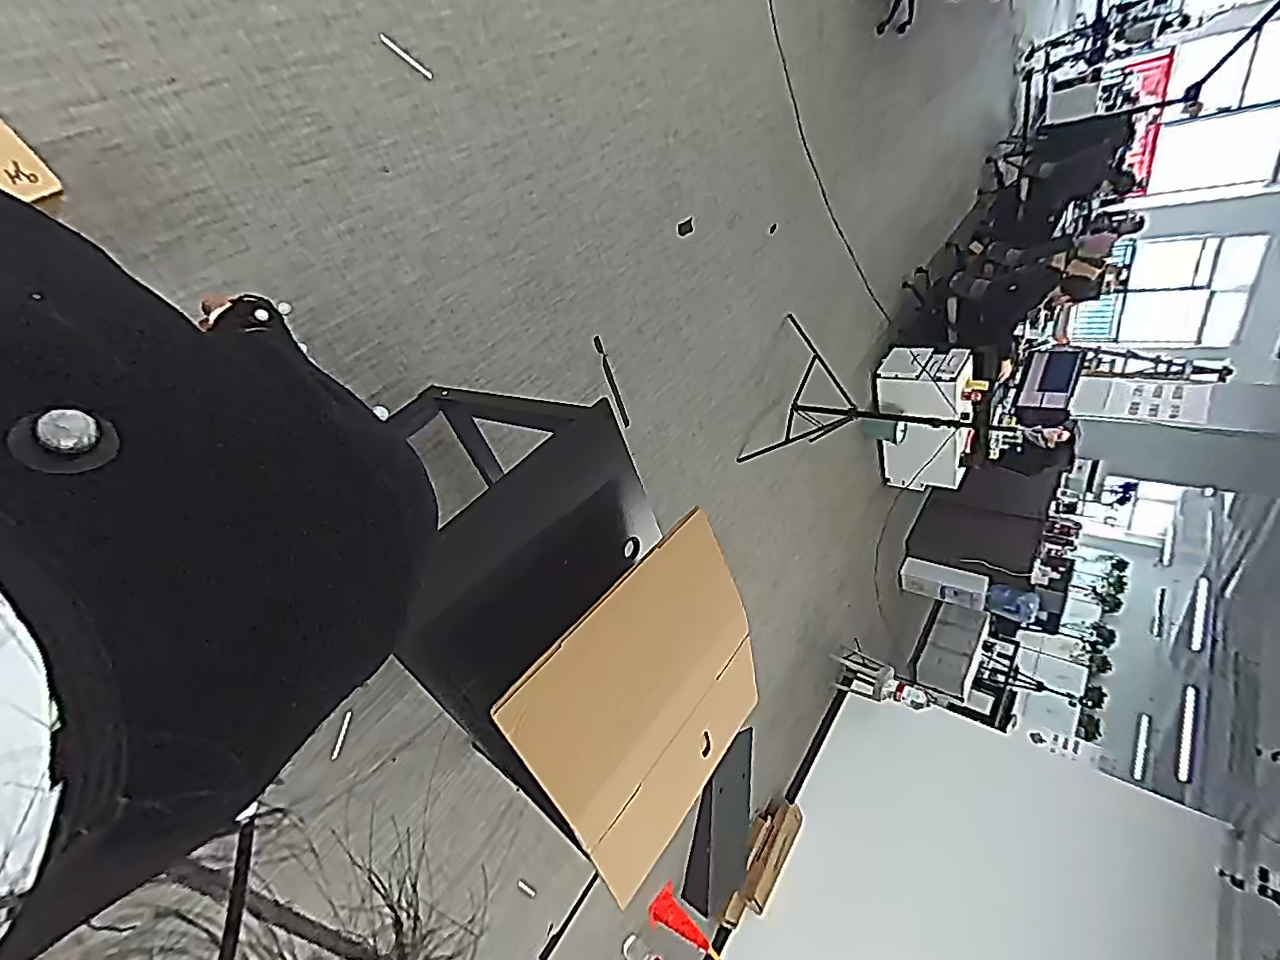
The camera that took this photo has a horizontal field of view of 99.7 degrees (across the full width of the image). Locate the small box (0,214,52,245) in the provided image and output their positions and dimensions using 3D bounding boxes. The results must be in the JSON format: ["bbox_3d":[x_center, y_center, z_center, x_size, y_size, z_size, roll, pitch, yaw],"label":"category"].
[{"bbox_3d":[-0.982,-0.415,0.755,0.179,0.176,0.168,-53,135,-27],"label":"small box"}]

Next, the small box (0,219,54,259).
[{"bbox_3d":[-1.106,-0.437,0.858,0.179,0.176,0.168,-49,132,-28],"label":"small box"}]

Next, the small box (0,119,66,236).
[{"bbox_3d":[-0.862,-0.388,0.647,0.168,0.176,0.179,-50,133,-28],"label":"small box"}]
